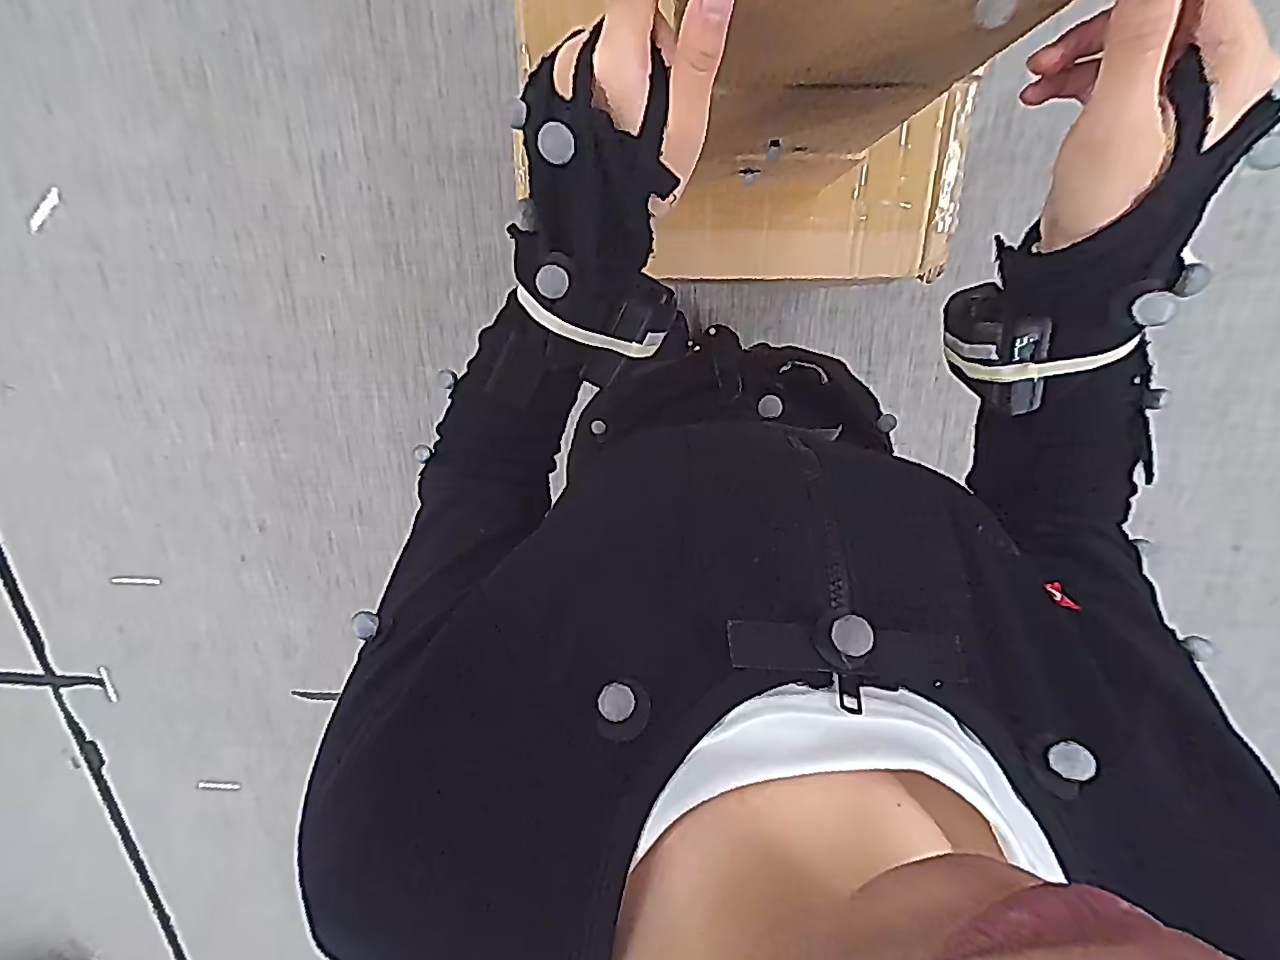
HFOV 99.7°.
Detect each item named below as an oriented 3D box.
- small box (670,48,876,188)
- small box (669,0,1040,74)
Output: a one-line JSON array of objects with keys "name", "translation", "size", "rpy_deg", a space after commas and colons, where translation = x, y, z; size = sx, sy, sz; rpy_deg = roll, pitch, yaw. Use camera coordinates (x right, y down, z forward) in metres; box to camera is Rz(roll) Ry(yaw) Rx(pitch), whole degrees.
[{"name": "small box", "translation": [0.121, -0.396, 0.536], "size": [0.179, 0.176, 0.168], "rpy_deg": [1, 109, 3]}, {"name": "small box", "translation": [0.102, -0.295, 0.223], "size": [0.179, 0.176, 0.168], "rpy_deg": [1, 109, 3]}]
